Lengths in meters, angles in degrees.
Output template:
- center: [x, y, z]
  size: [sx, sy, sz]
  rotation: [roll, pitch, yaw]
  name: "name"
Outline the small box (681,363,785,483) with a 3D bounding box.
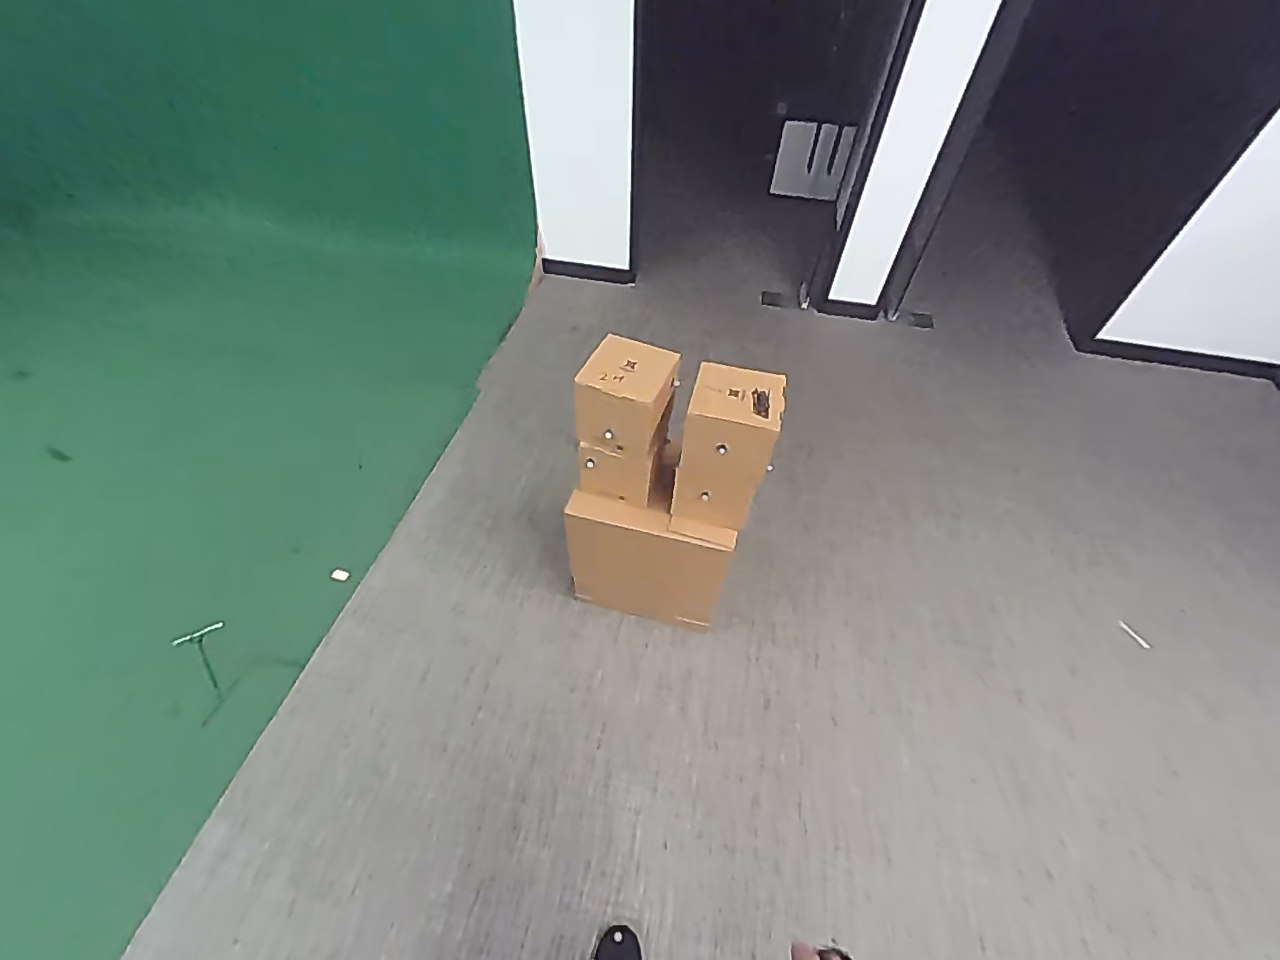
- center: [0.188, -0.113, 1.114]
  size: [0.179, 0.176, 0.168]
  rotation: [11, 51, 9]
  name: "small box"
